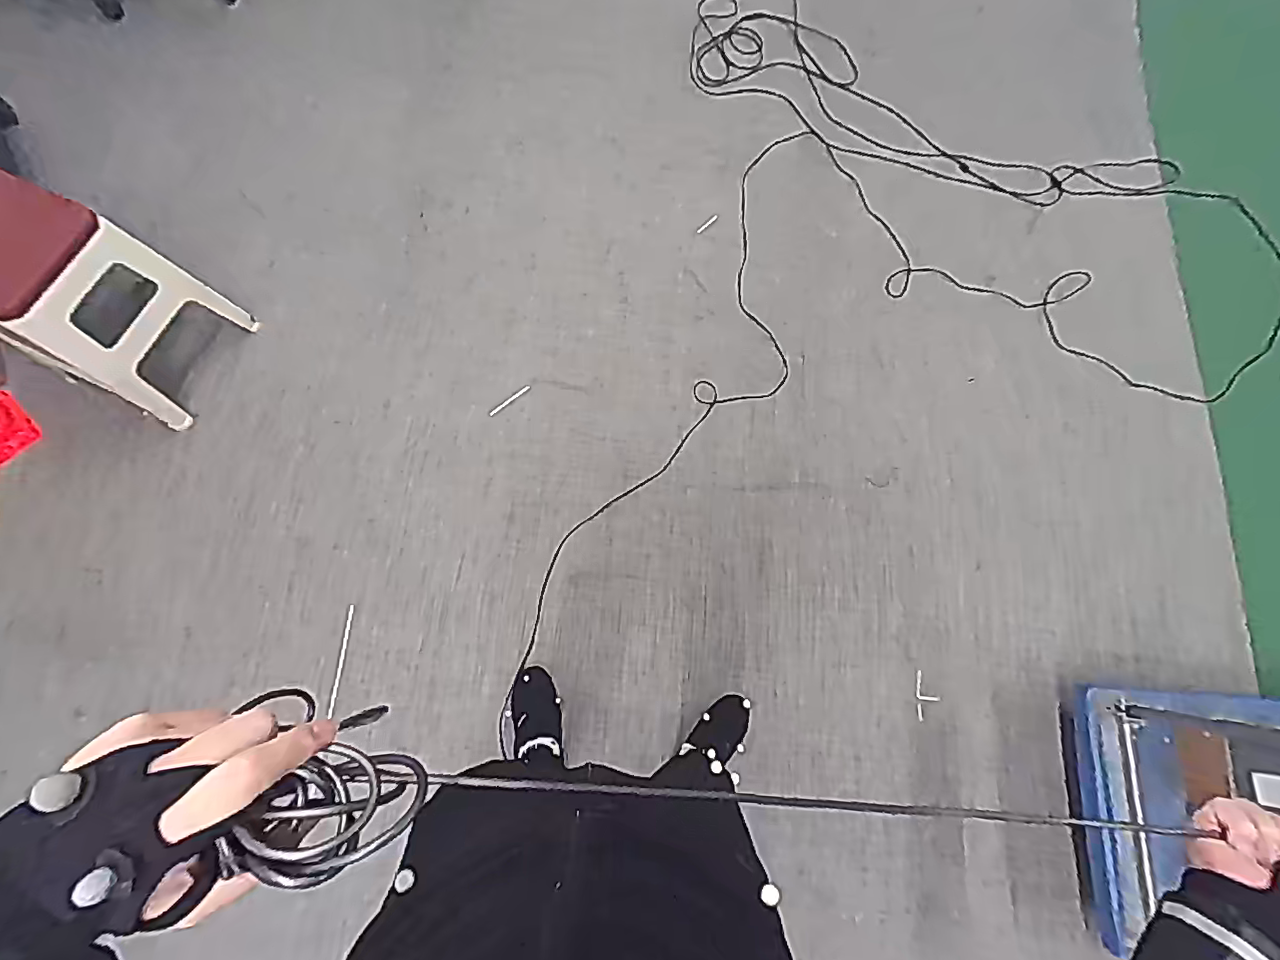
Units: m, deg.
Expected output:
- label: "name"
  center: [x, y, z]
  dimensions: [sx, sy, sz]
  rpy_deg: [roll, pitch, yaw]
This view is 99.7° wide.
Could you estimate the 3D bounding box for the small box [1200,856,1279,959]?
- label: "small box"
  center: [1.355, 0.923, 1.138]
  dimensions: [0.179, 0.176, 0.168]
  rpy_deg: [7, 75, -1]
